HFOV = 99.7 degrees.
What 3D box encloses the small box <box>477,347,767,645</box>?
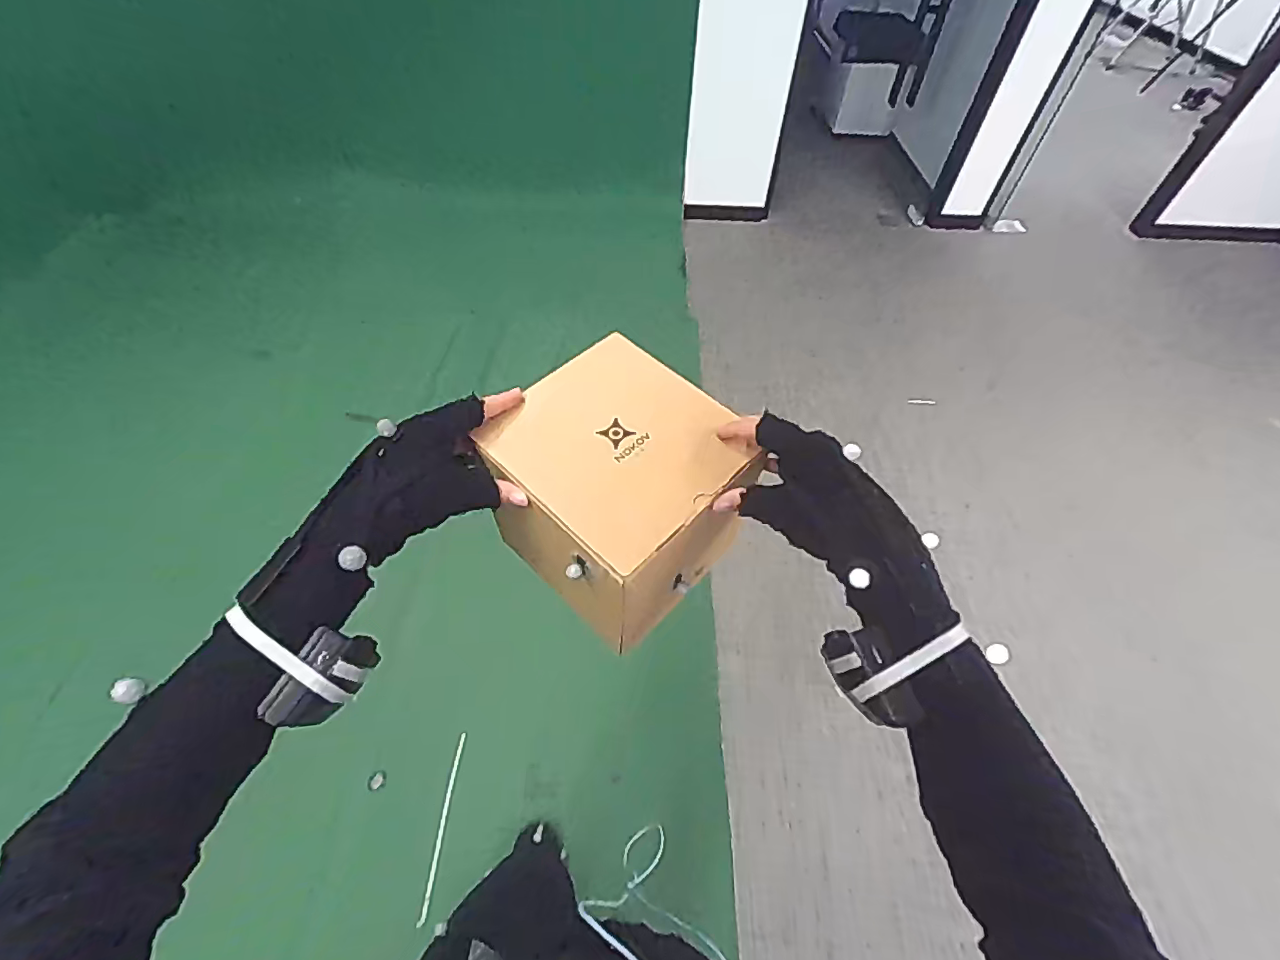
[{"bbox_3d":[-0.019,0.018,0.494,0.179,0.176,0.168,40,62,21],"label":"small box"}]
